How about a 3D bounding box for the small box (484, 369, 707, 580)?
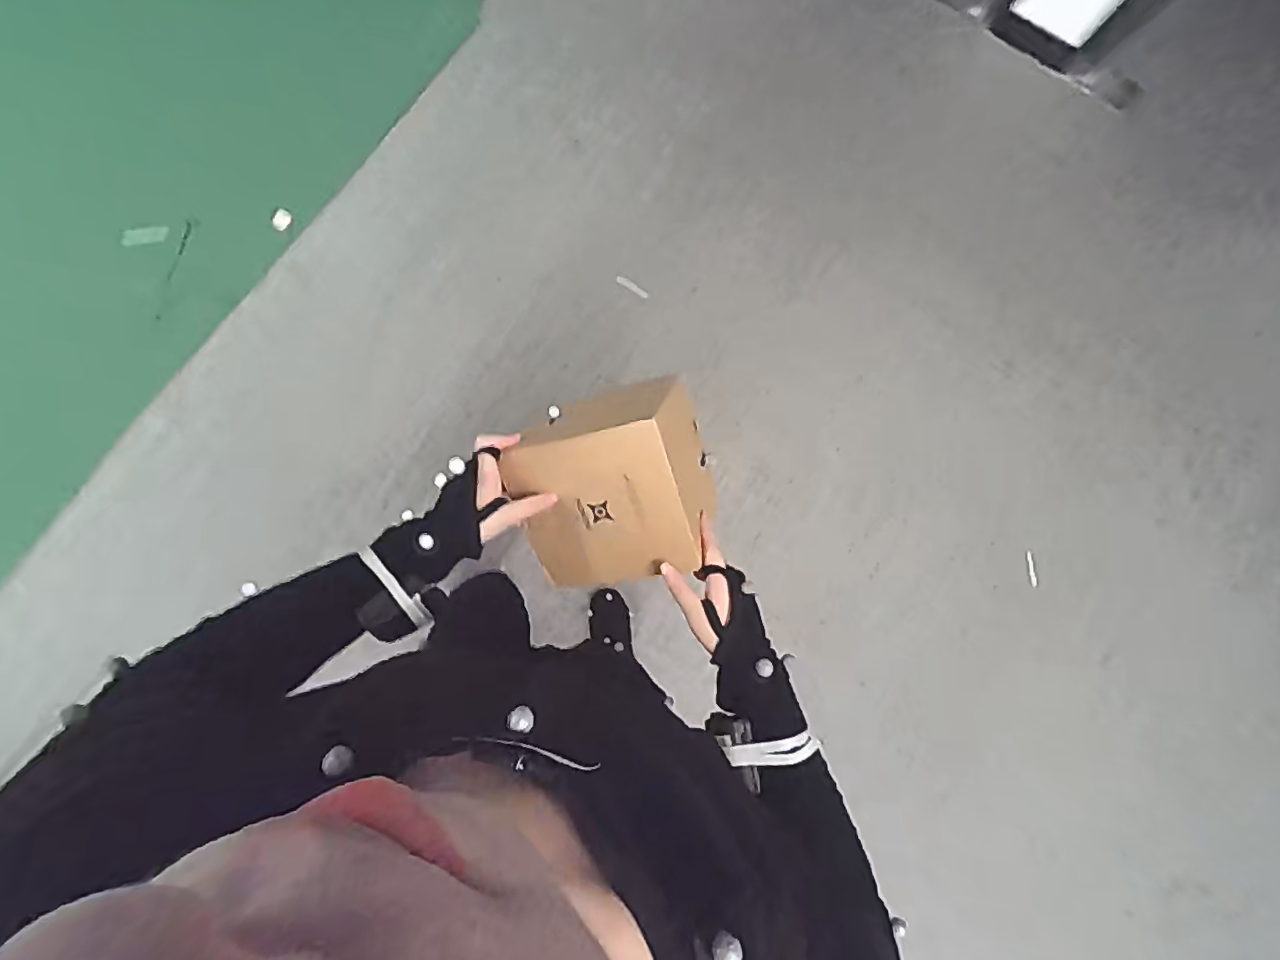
[{"bbox_3d":[-0.036,-0.010,0.608,0.179,0.176,0.168,-11,114,20],"label":"small box"}]
